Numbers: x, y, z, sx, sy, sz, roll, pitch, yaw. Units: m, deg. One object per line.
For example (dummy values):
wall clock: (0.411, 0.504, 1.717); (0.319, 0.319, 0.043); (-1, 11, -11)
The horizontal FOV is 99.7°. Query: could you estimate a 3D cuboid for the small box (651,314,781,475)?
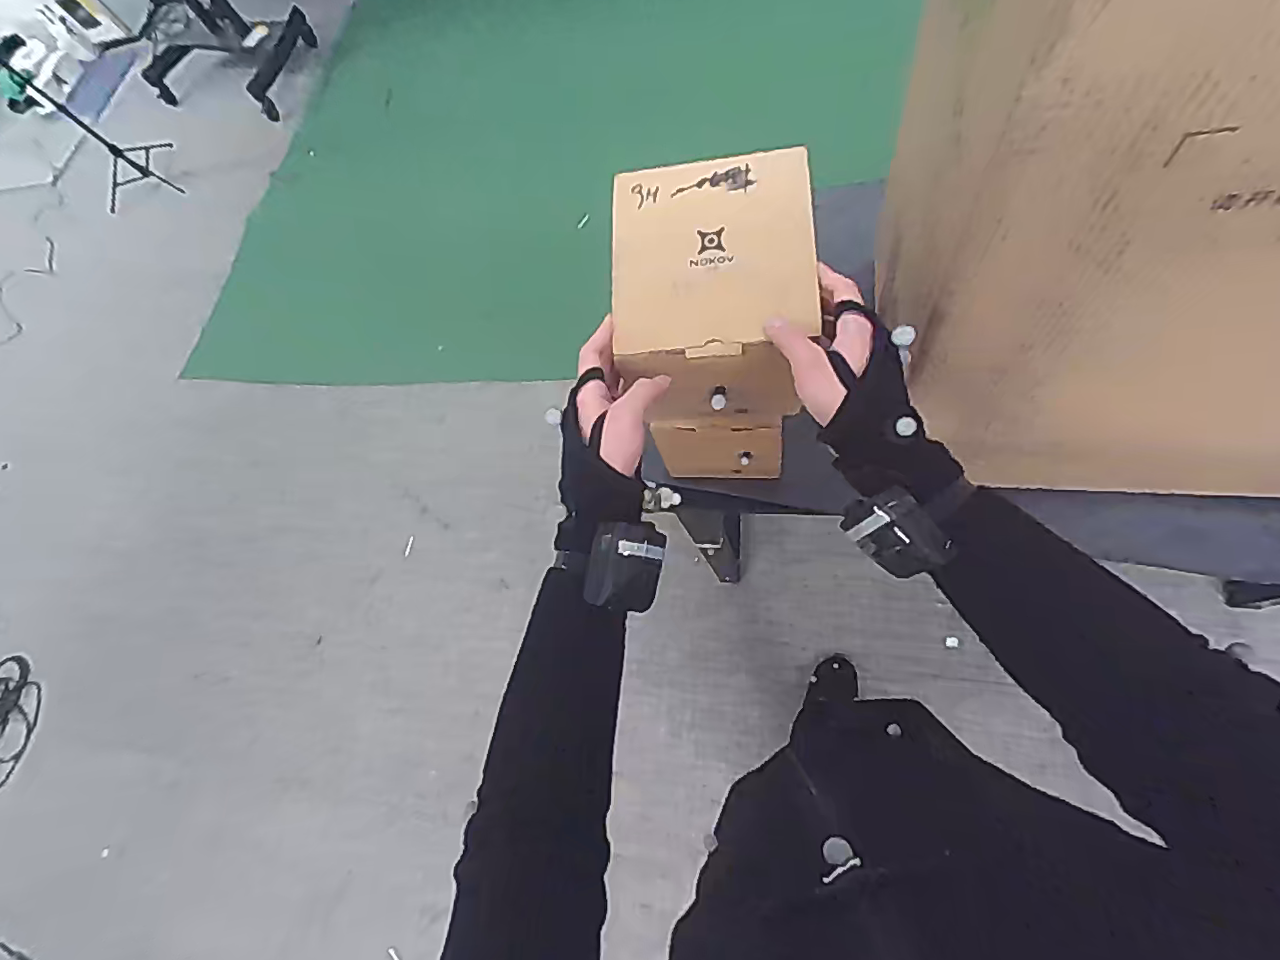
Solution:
small box: (0.118, -0.114, 0.785); (0.168, 0.176, 0.179); (1, 67, 13)
